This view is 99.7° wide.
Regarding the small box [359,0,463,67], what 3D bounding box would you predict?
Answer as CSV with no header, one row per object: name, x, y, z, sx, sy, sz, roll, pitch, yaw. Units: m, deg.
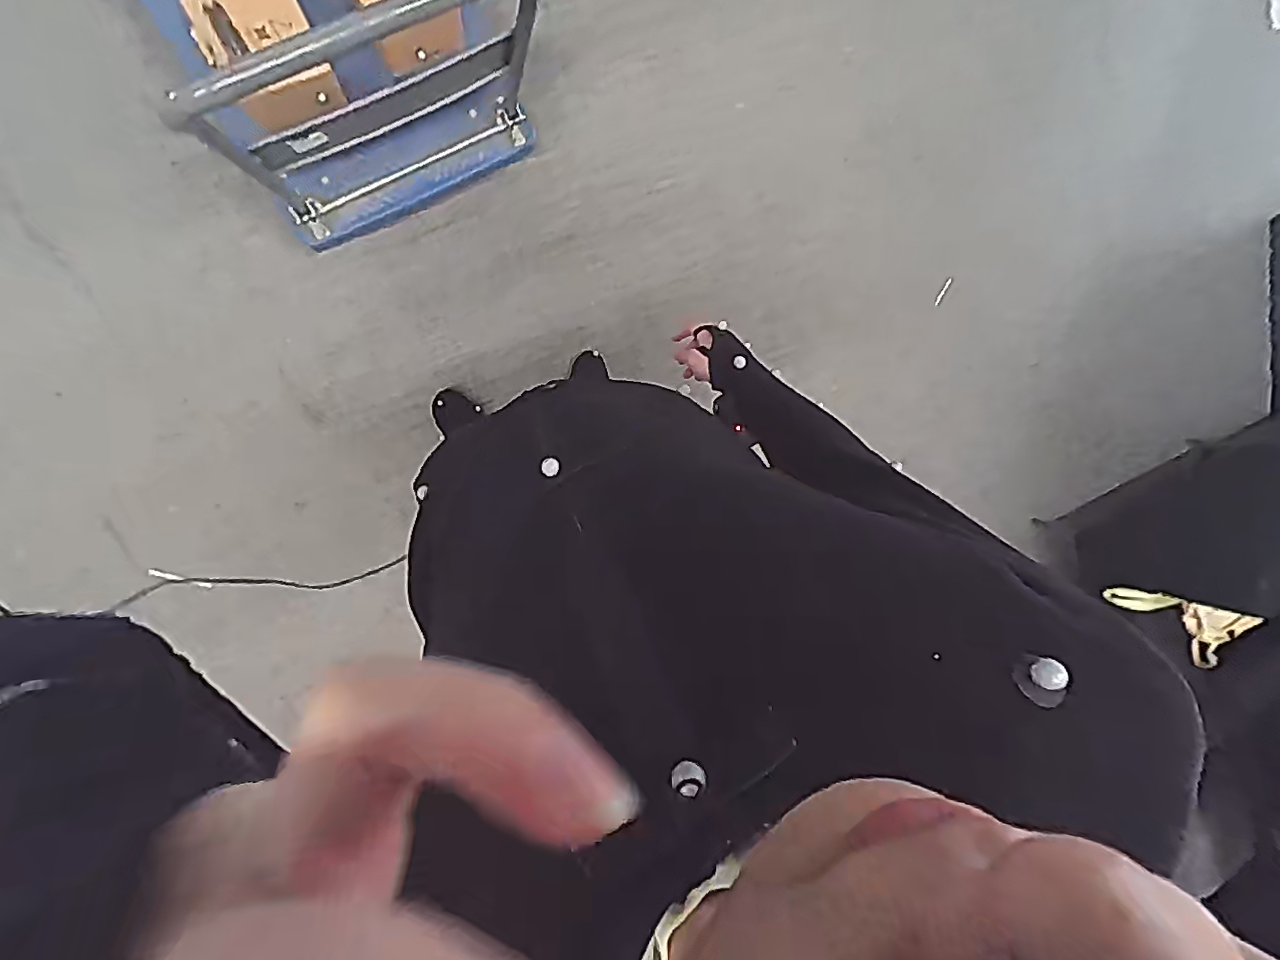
small box,-0.460,-0.954,1.043,0.168,0.176,0.179,-29,109,-7
